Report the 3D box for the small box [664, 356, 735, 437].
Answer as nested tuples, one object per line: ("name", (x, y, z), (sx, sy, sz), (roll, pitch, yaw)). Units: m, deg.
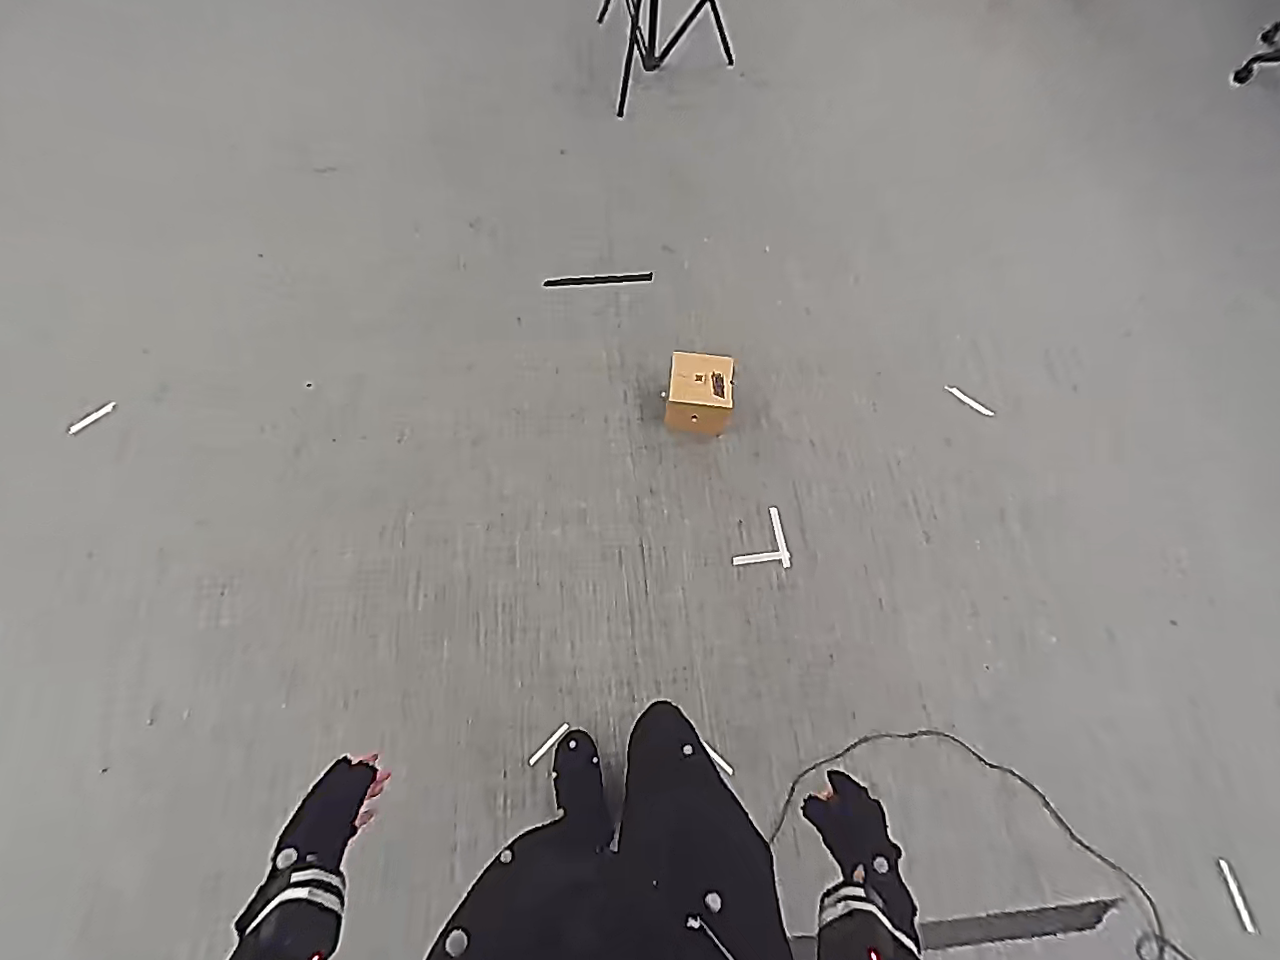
("small box", (0.171, -0.236, 1.571), (0.179, 0.176, 0.168), (6, 67, 0))
